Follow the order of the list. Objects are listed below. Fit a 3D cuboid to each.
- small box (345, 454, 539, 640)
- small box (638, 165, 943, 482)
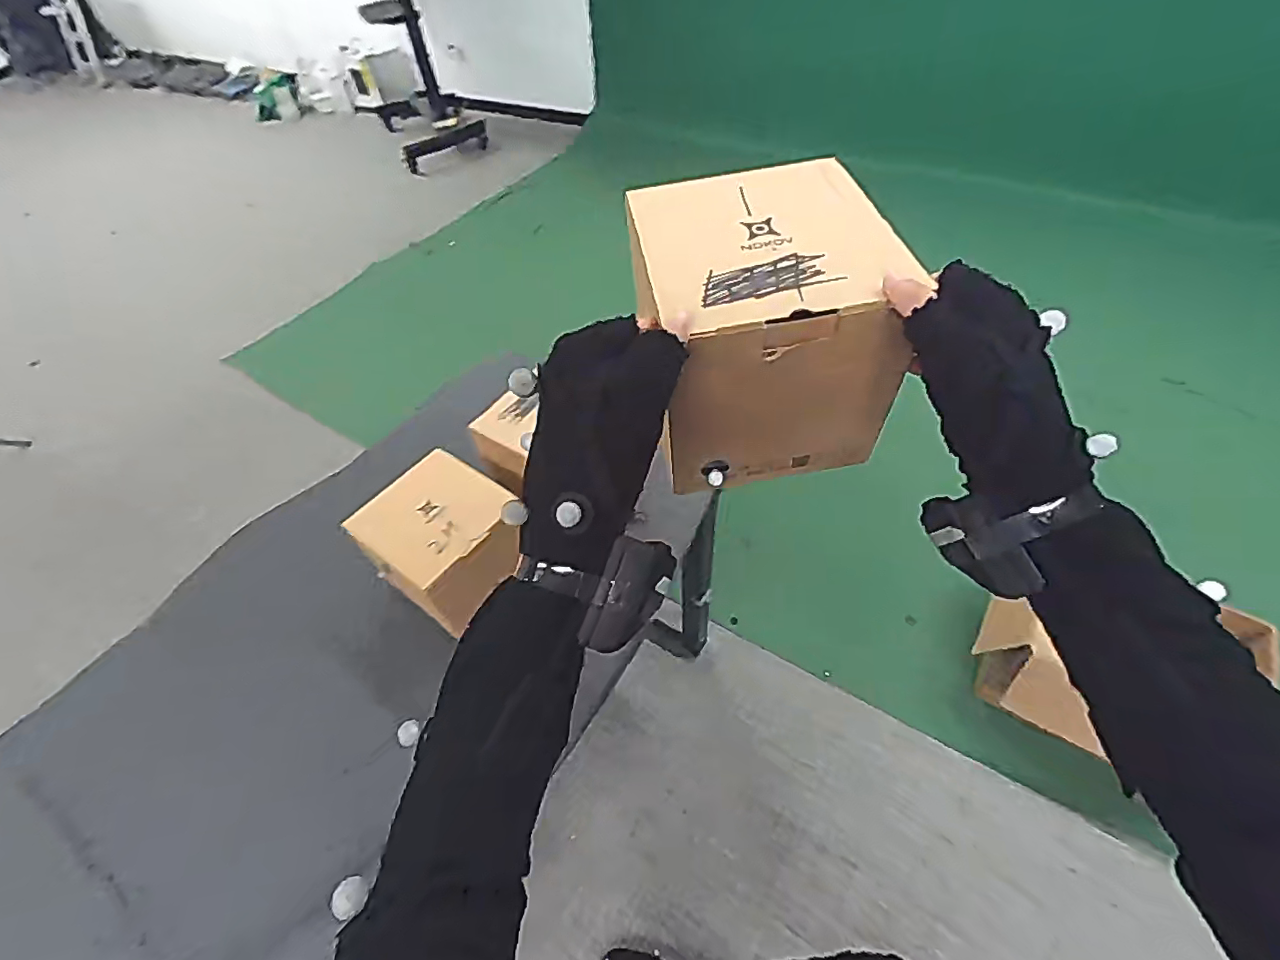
[{"bbox_3d":[-0.272,0.099,0.778,0.179,0.176,0.168,29,59,25],"label":"small box"},{"bbox_3d":[0.096,-0.112,0.429,0.168,0.176,0.179,-9,54,-1],"label":"small box"}]
